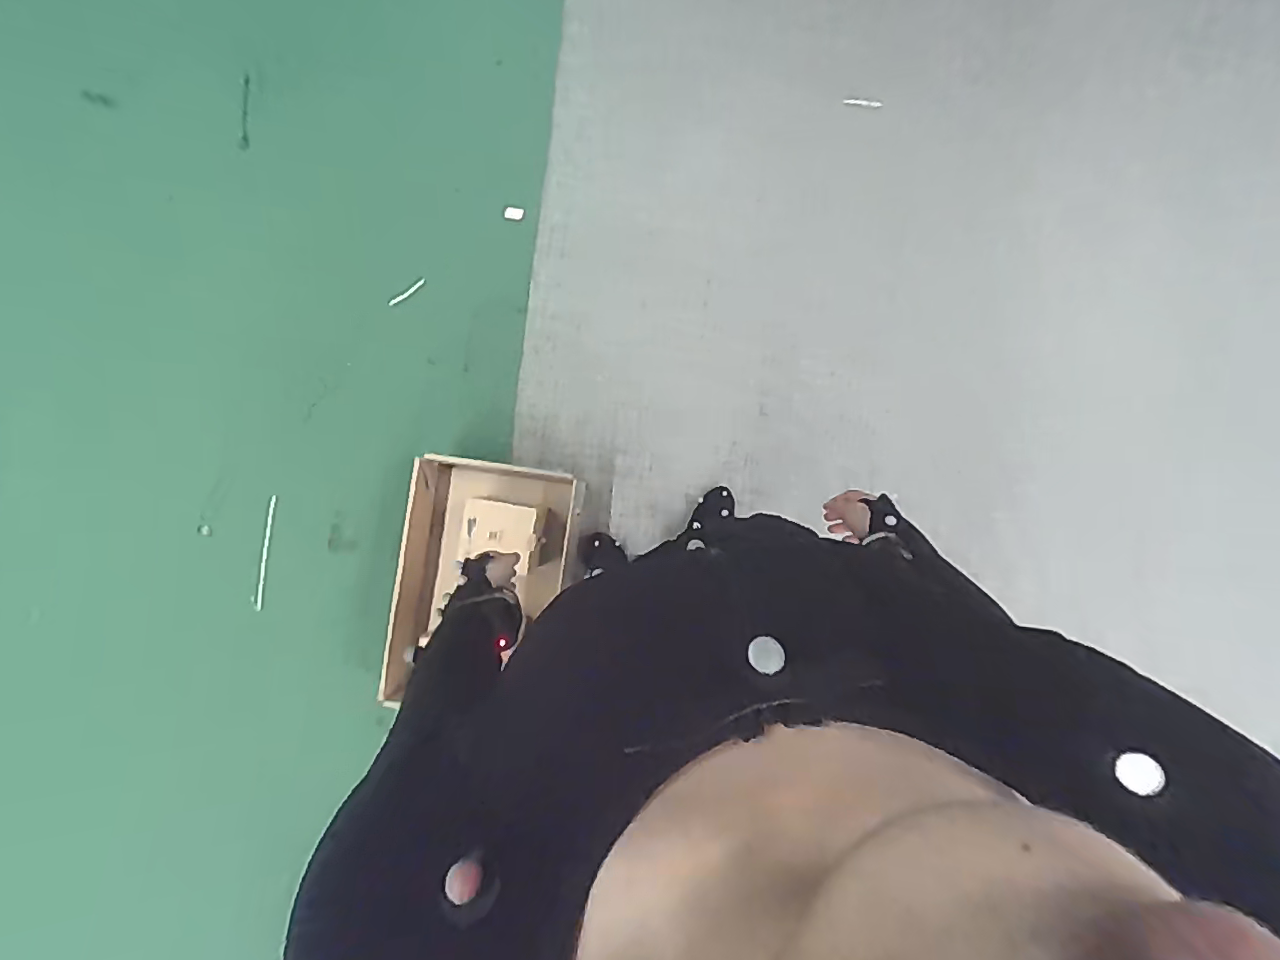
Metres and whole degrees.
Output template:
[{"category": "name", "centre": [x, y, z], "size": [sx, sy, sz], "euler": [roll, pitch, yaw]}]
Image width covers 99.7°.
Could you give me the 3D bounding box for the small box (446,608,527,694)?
[{"category": "small box", "centre": [-0.383, 0.427, 1.334], "size": [0.168, 0.176, 0.179], "euler": [8, 86, -1]}]

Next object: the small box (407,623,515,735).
[{"category": "small box", "centre": [-0.377, 0.420, 1.170], "size": [0.168, 0.176, 0.179], "euler": [8, 88, 0]}]

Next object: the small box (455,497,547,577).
[{"category": "small box", "centre": [-0.337, 0.136, 1.349], "size": [0.179, 0.176, 0.168], "euler": [10, 88, -1]}]
